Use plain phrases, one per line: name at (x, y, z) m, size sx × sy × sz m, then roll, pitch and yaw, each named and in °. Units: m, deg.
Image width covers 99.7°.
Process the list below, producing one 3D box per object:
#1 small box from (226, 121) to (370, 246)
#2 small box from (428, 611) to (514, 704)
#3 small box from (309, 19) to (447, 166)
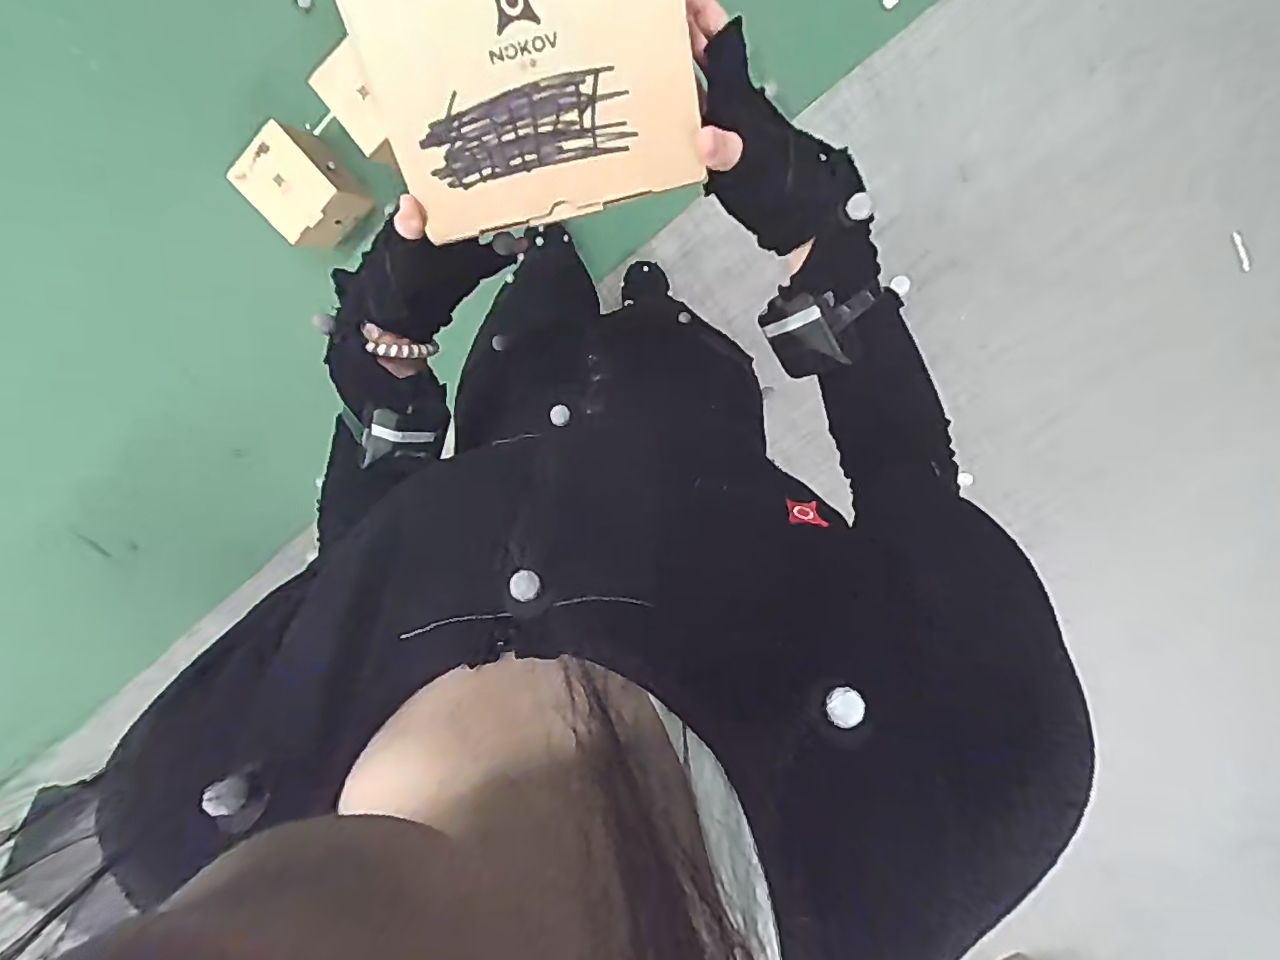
small box at (-0.747, -0.650, 1.203) m, size 0.168 × 0.176 × 0.179 m, roll -36°, pitch 108°, yaw 15°
small box at (-0.518, 0.550, 1.684) m, size 0.168 × 0.176 × 0.179 m, roll 38°, pitch 109°, yaw -13°
small box at (-0.534, -0.798, 1.136) m, size 0.179 × 0.176 × 0.168 m, roll -33°, pitch 107°, yaw 14°
